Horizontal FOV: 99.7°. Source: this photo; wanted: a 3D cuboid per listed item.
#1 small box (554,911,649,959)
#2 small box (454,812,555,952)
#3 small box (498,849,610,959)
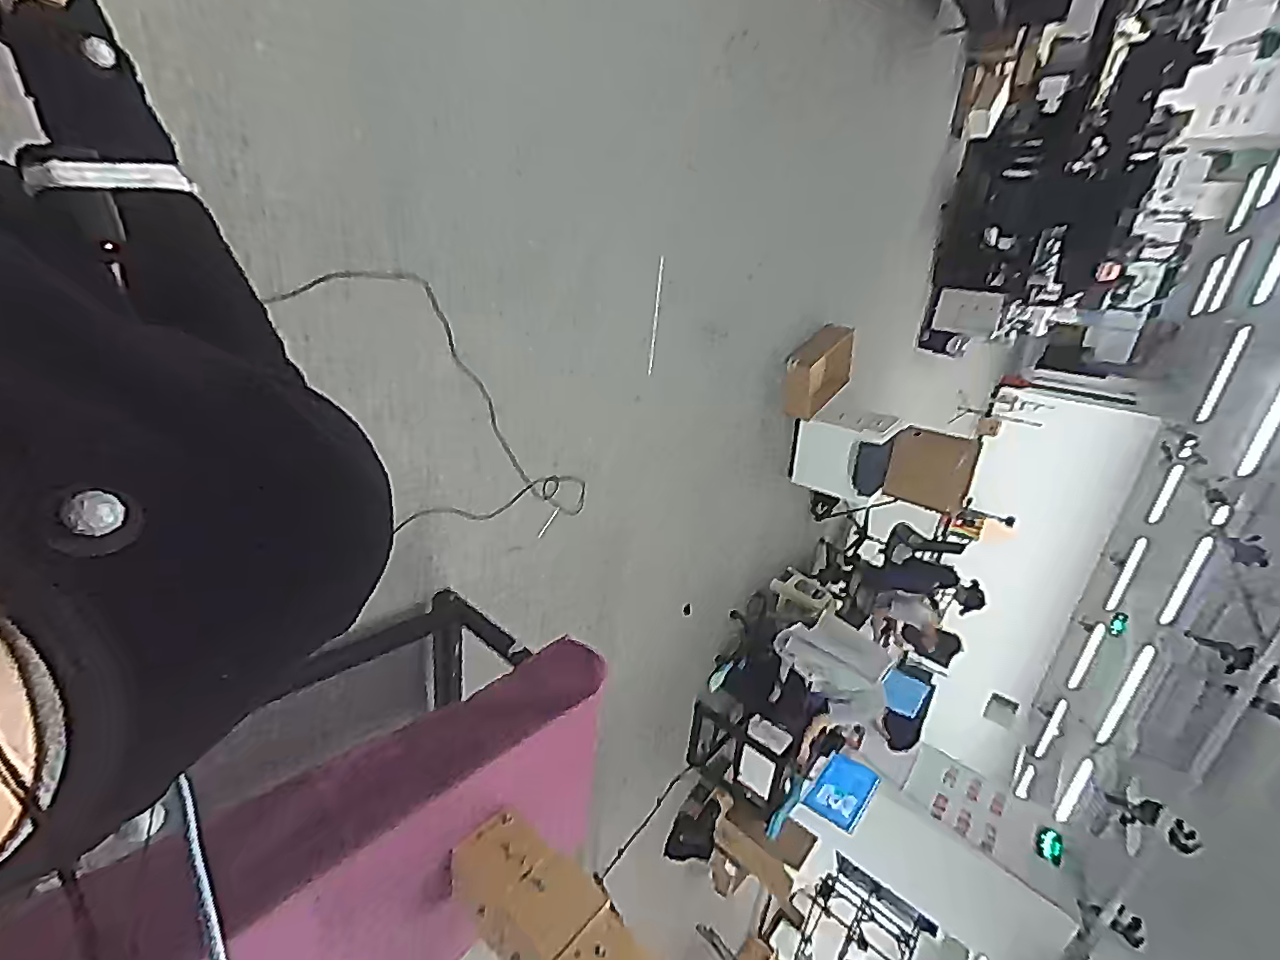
[{"bbox_3d":[-0.077,1.029,1.078,0.168,0.176,0.179,-16,120,-47],"label":"small box"},{"bbox_3d":[-0.321,0.924,1.269,0.168,0.176,0.179,-16,121,-47],"label":"small box"},{"bbox_3d":[-0.191,0.971,1.180,0.179,0.176,0.168,-14,119,-47],"label":"small box"}]
